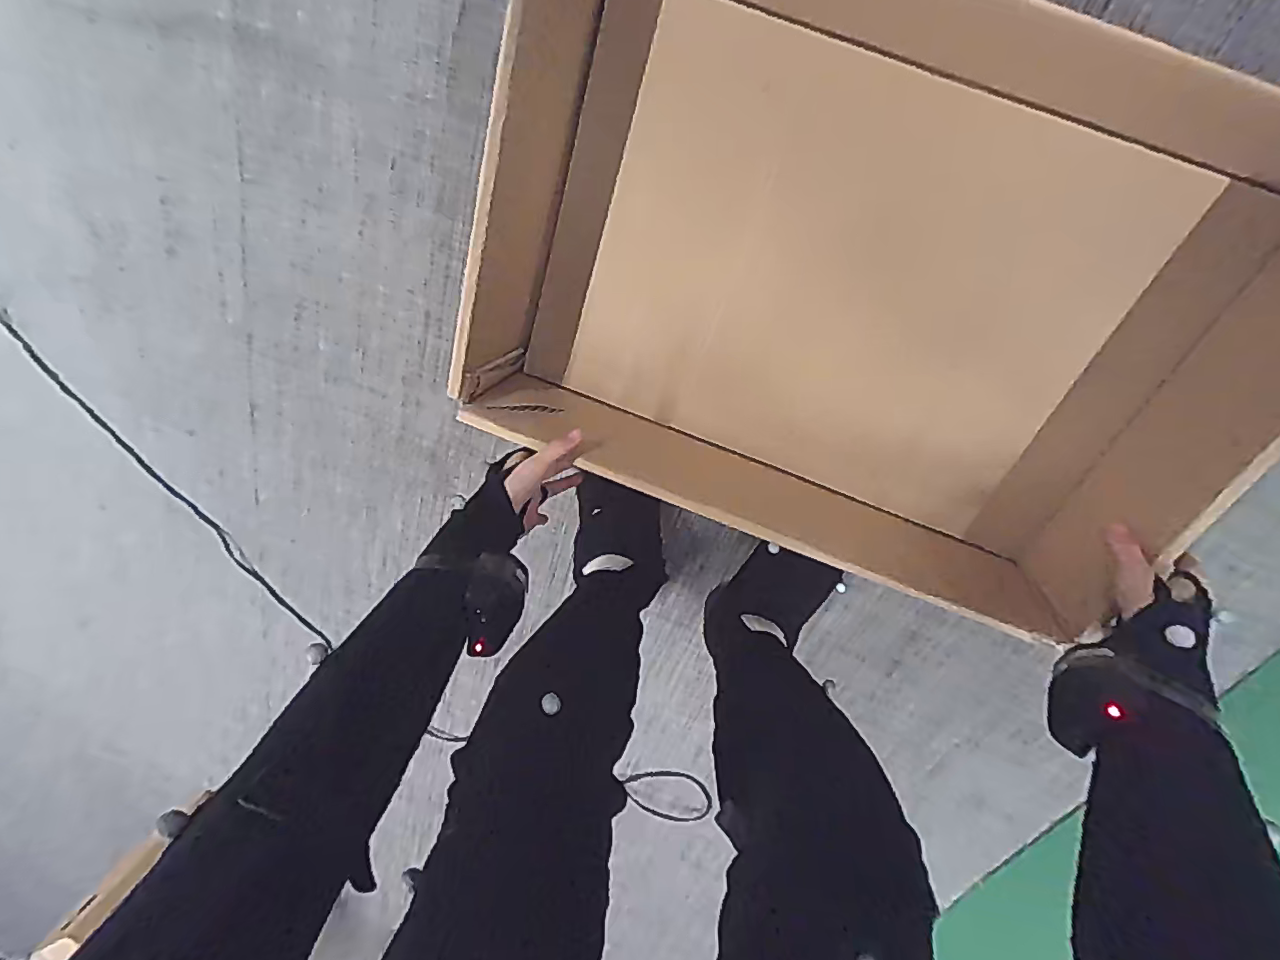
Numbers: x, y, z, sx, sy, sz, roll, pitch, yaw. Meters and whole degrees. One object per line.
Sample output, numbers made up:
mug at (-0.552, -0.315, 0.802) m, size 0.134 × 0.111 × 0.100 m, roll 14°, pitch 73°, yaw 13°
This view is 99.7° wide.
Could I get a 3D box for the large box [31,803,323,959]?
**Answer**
large box at (-1.070, 1.065, 1.276) m, size 0.320 × 0.320 × 0.408 m, roll -36°, pitch 101°, yaw 24°
